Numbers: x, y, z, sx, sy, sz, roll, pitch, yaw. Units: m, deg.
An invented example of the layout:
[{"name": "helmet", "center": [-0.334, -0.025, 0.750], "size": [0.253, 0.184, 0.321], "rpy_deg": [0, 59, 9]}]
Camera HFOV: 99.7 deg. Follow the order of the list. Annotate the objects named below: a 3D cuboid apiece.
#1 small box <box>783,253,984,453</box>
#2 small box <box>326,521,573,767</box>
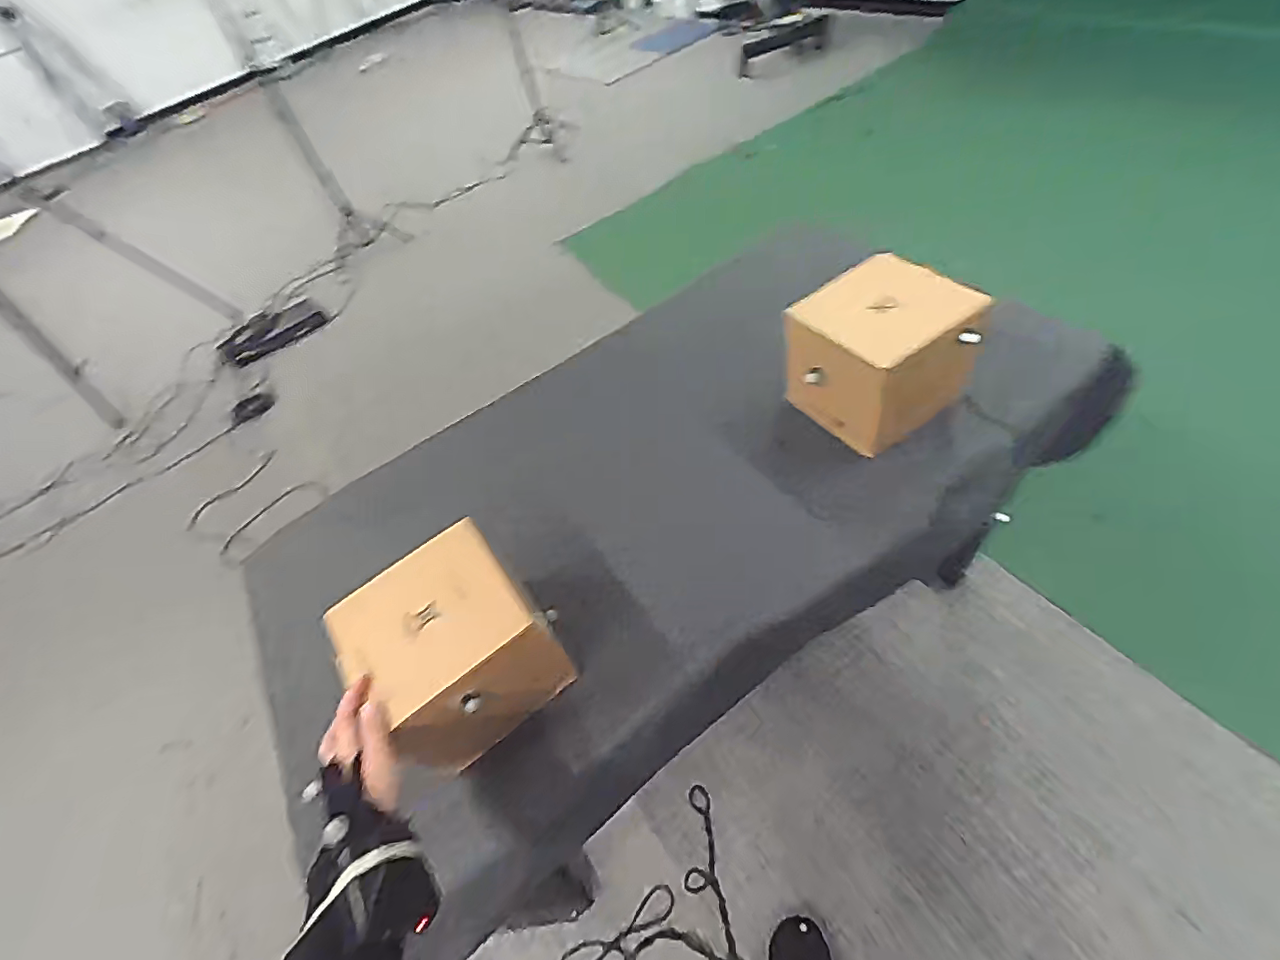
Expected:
[{"name": "small box", "center": [0.317, -0.168, 0.735], "size": [0.179, 0.176, 0.168], "rpy_deg": [-33, 52, -11]}, {"name": "small box", "center": [-0.202, 0.187, 0.605], "size": [0.179, 0.176, 0.168], "rpy_deg": [-36, 54, -14]}]
